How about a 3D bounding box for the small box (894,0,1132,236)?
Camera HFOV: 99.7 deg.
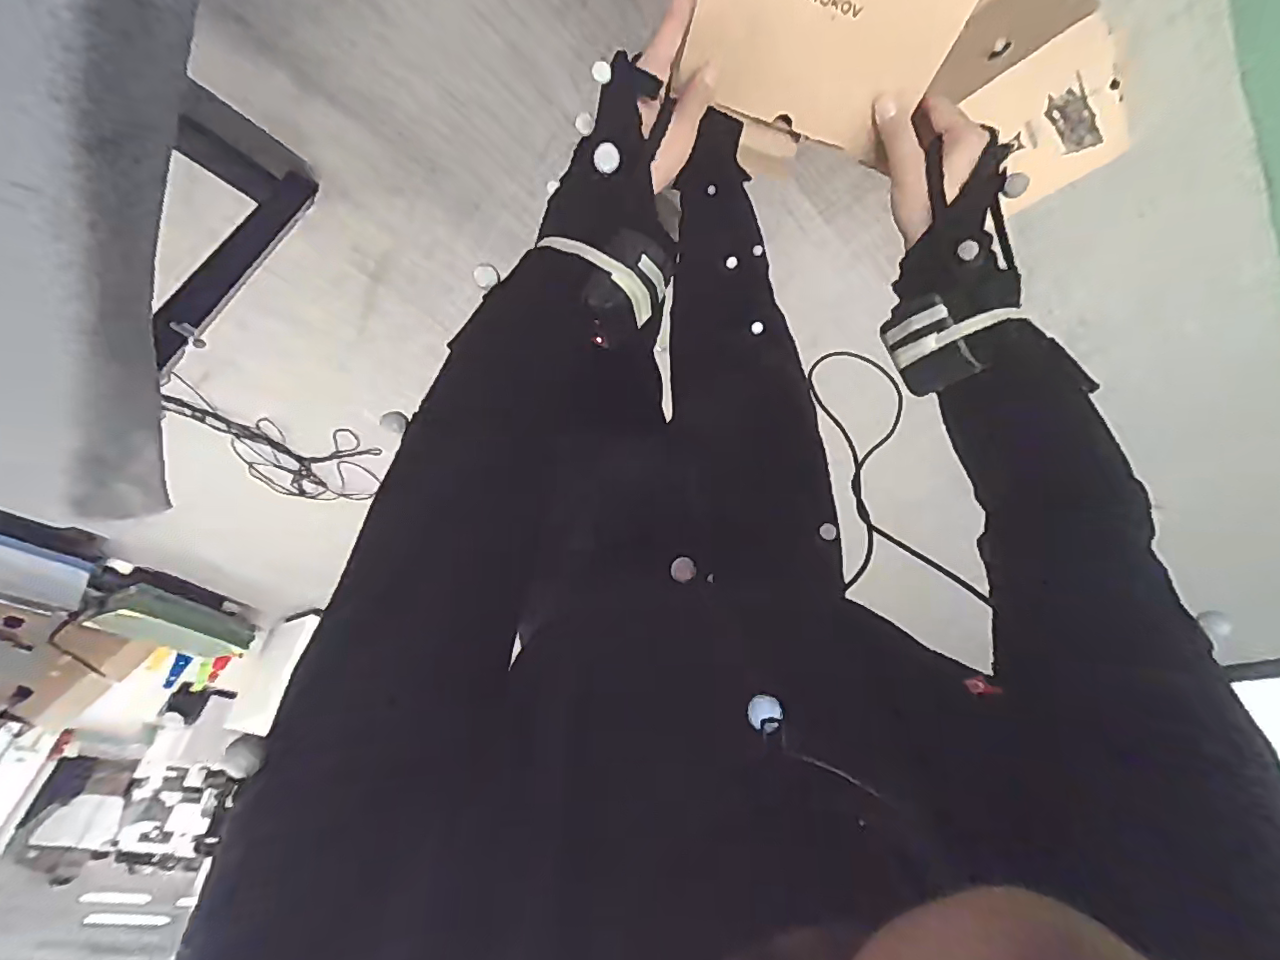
[{"bbox_3d":[0.431,-0.445,0.645,0.179,0.176,0.168,-24,133,36],"label":"small box"}]
